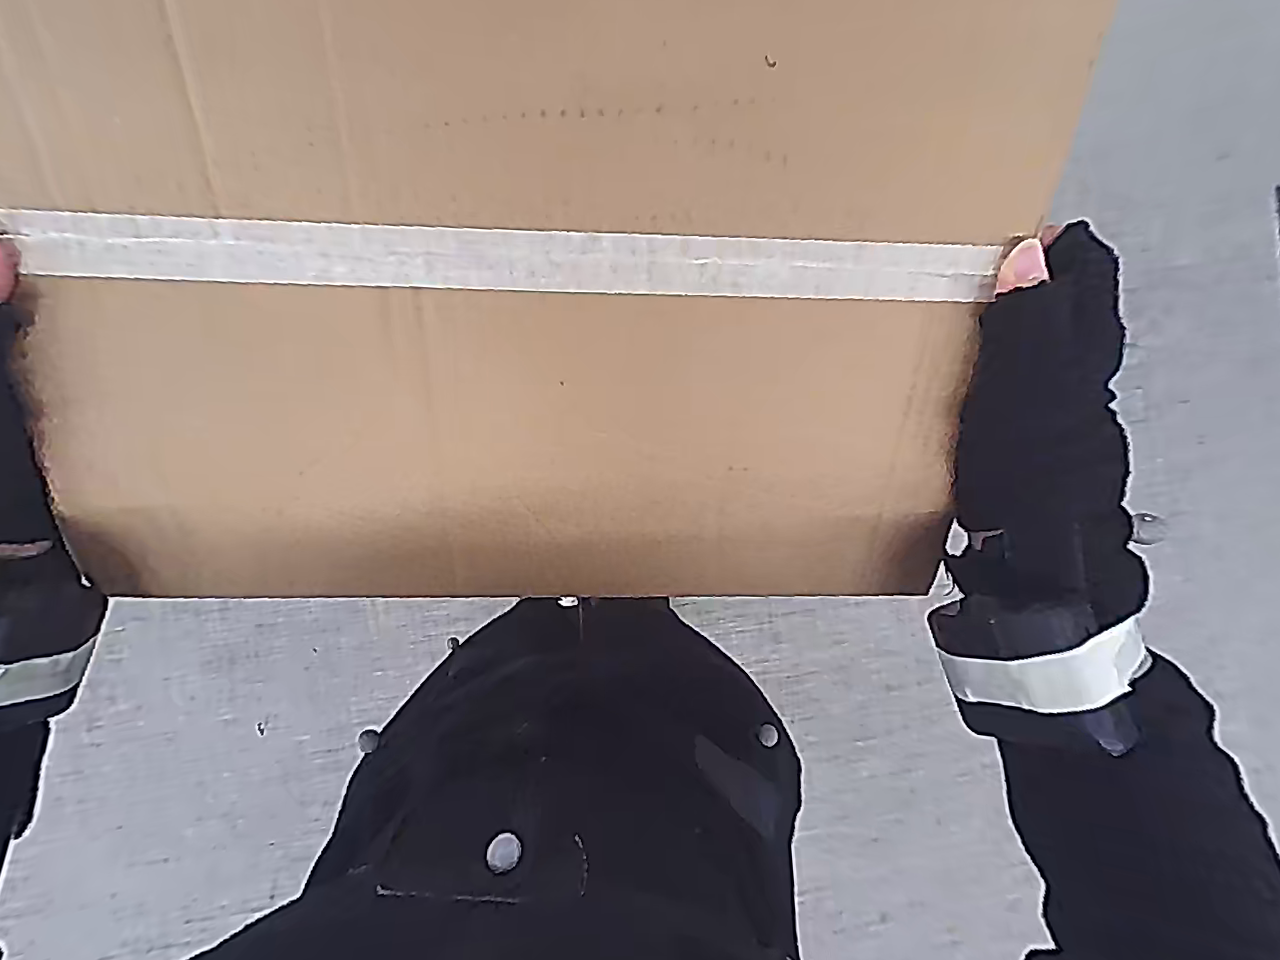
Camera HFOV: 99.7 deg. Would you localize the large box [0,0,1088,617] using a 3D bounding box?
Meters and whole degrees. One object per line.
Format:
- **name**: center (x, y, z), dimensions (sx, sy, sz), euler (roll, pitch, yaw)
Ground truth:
- **large box**: center (-0.056, -0.134, 0.350), dimensions (0.408, 0.320, 0.320), euler (0, 115, -4)
